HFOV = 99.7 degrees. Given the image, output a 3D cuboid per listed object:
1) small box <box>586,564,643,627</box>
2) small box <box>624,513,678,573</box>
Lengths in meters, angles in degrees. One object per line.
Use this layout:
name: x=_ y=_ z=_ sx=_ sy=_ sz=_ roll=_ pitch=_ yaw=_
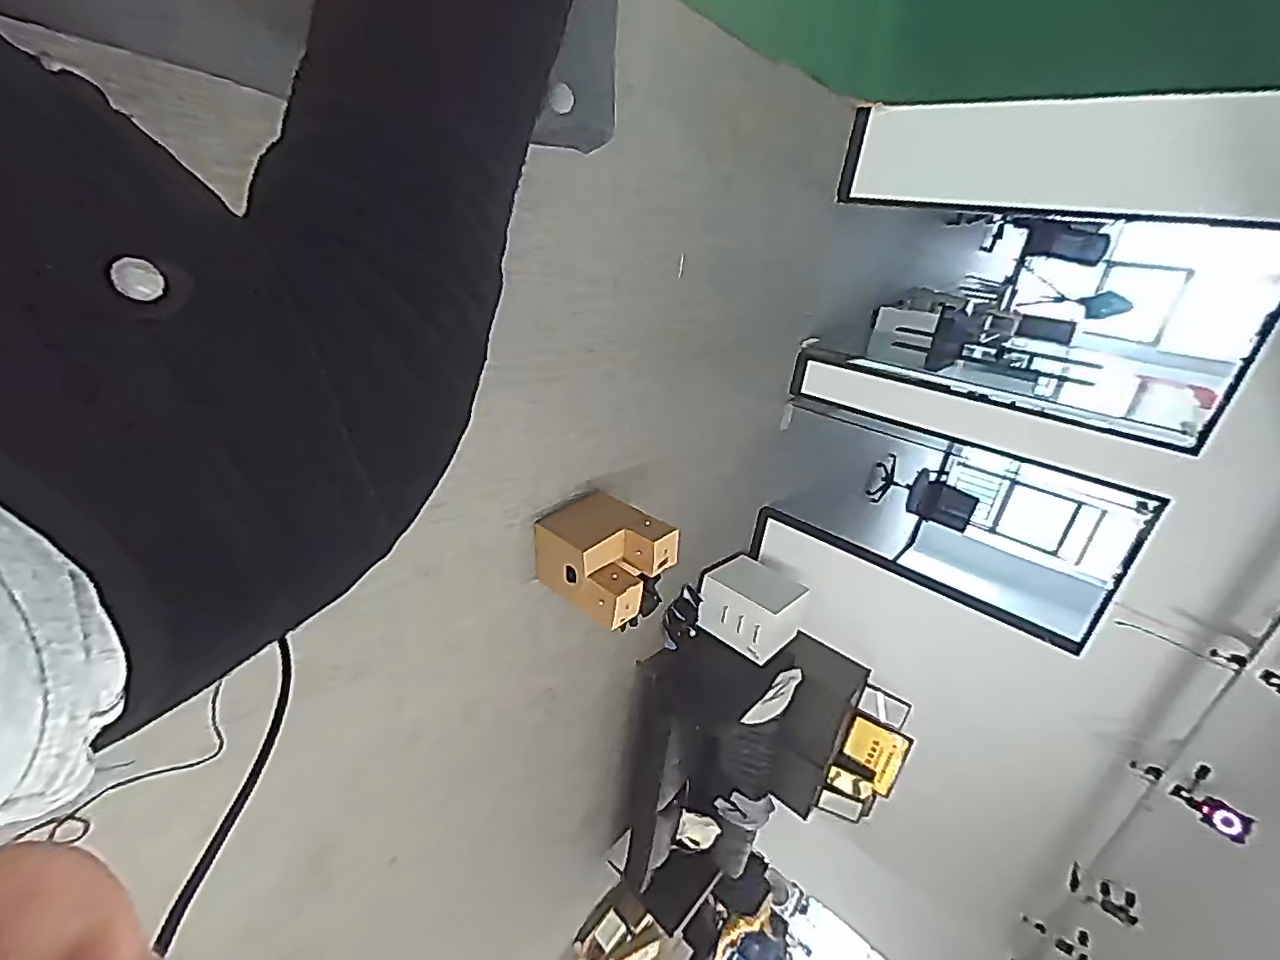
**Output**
small box: x=-0.108 y=0.471 z=2.247 sx=0.168 sy=0.176 sz=0.179 roll=-22 pitch=128 yaw=-46
small box: x=0.043 y=0.269 z=2.335 sx=0.168 sy=0.176 sz=0.179 roll=-25 pitch=125 yaw=-45
